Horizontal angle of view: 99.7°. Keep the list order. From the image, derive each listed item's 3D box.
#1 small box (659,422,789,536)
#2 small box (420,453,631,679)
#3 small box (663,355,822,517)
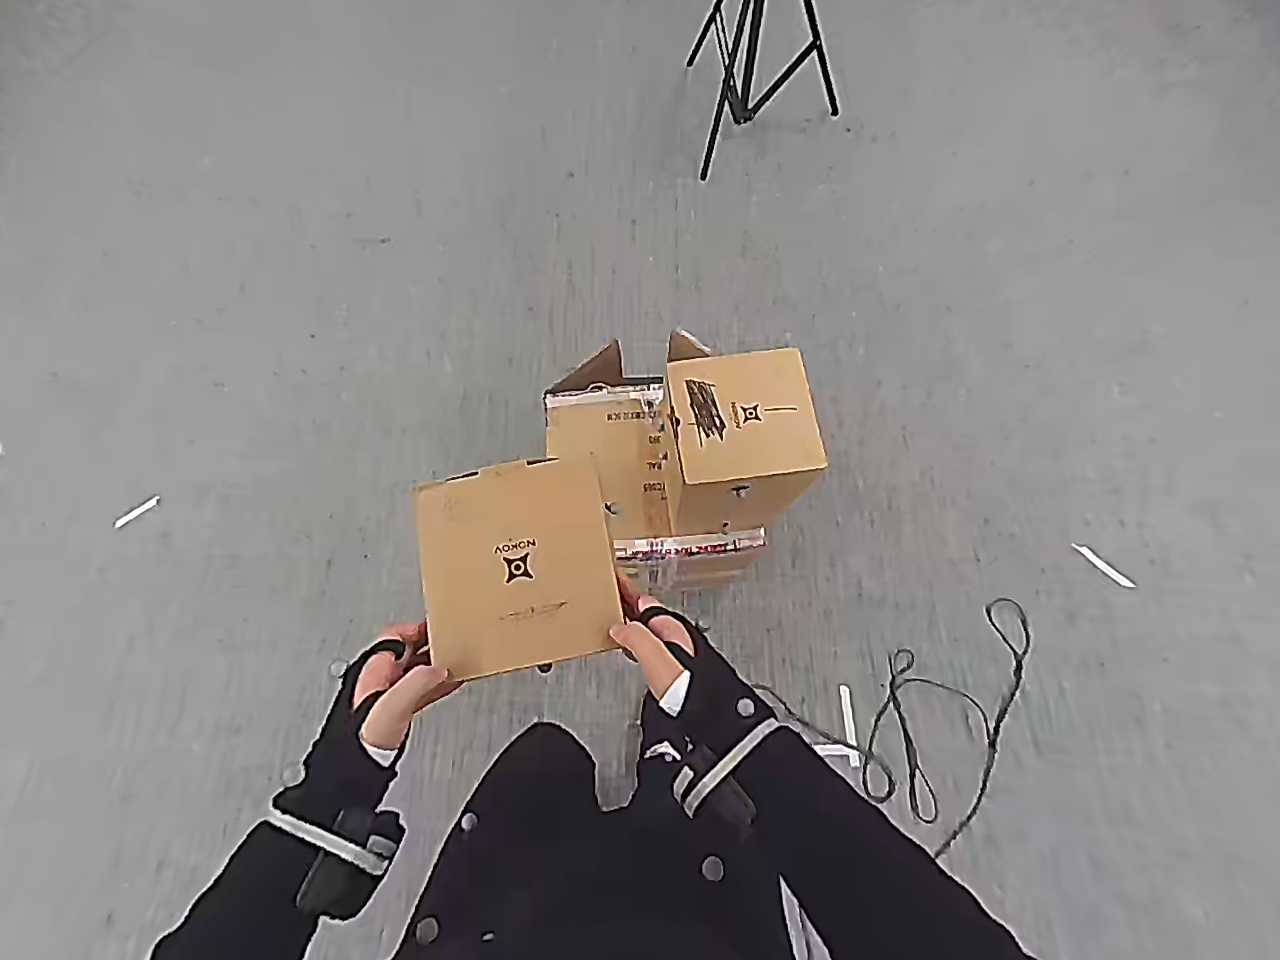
[{"bbox_3d":[0.130,-0.008,0.909,0.179,0.176,0.168,-7,73,-2],"label":"small box"},{"bbox_3d":[-0.106,0.089,0.557,0.168,0.176,0.179,-12,79,-3],"label":"small box"},{"bbox_3d":[0.127,-0.051,0.749,0.179,0.176,0.168,-7,74,-2],"label":"small box"}]
